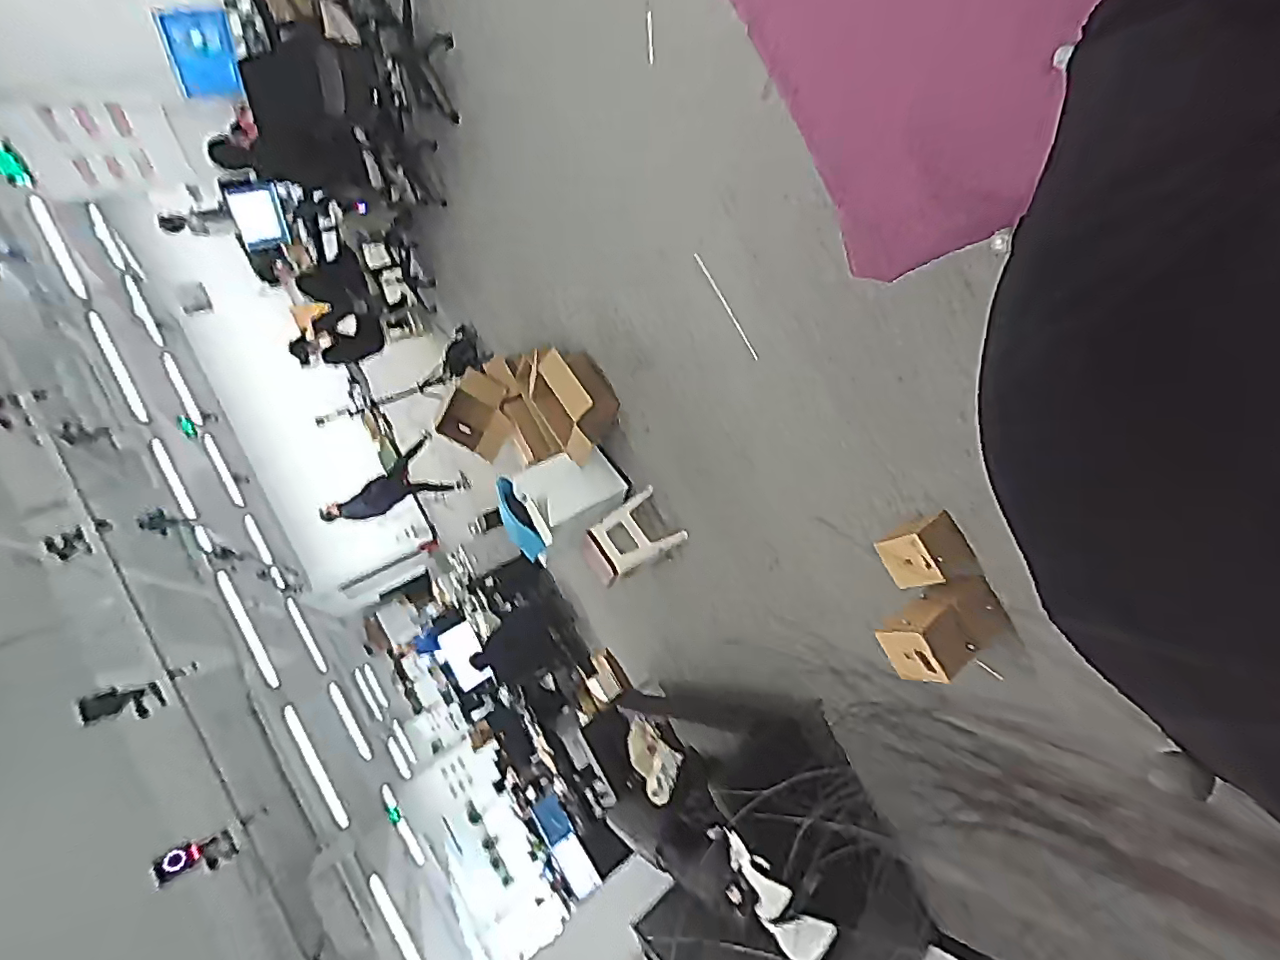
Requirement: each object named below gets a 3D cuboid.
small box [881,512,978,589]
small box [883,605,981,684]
[{"bbox_3d":[0.910,0.223,1.700,0.168,0.176,0.179,59,153,5],"label":"small box"},{"bbox_3d":[0.886,0.491,1.627,0.168,0.176,0.179,61,153,4],"label":"small box"}]
